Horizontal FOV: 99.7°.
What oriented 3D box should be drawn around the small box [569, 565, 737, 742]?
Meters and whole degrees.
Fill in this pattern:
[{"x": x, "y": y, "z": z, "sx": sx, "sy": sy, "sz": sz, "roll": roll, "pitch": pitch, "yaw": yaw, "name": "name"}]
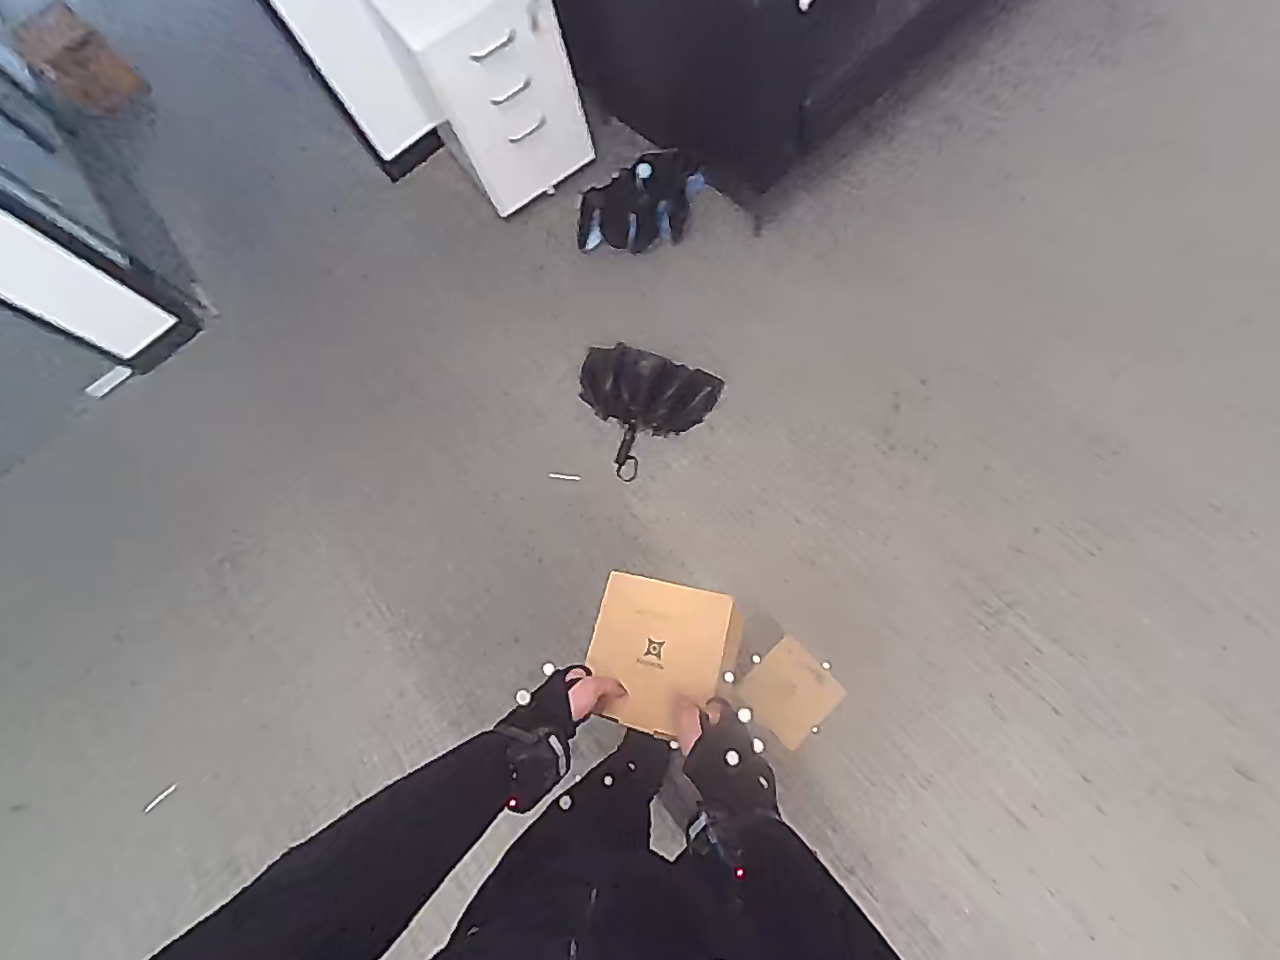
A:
[{"x": 0.030, "y": 0.231, "z": 0.715, "sx": 0.168, "sy": 0.176, "sz": 0.179, "roll": 8, "pitch": 67, "yaw": 18, "name": "small box"}]
